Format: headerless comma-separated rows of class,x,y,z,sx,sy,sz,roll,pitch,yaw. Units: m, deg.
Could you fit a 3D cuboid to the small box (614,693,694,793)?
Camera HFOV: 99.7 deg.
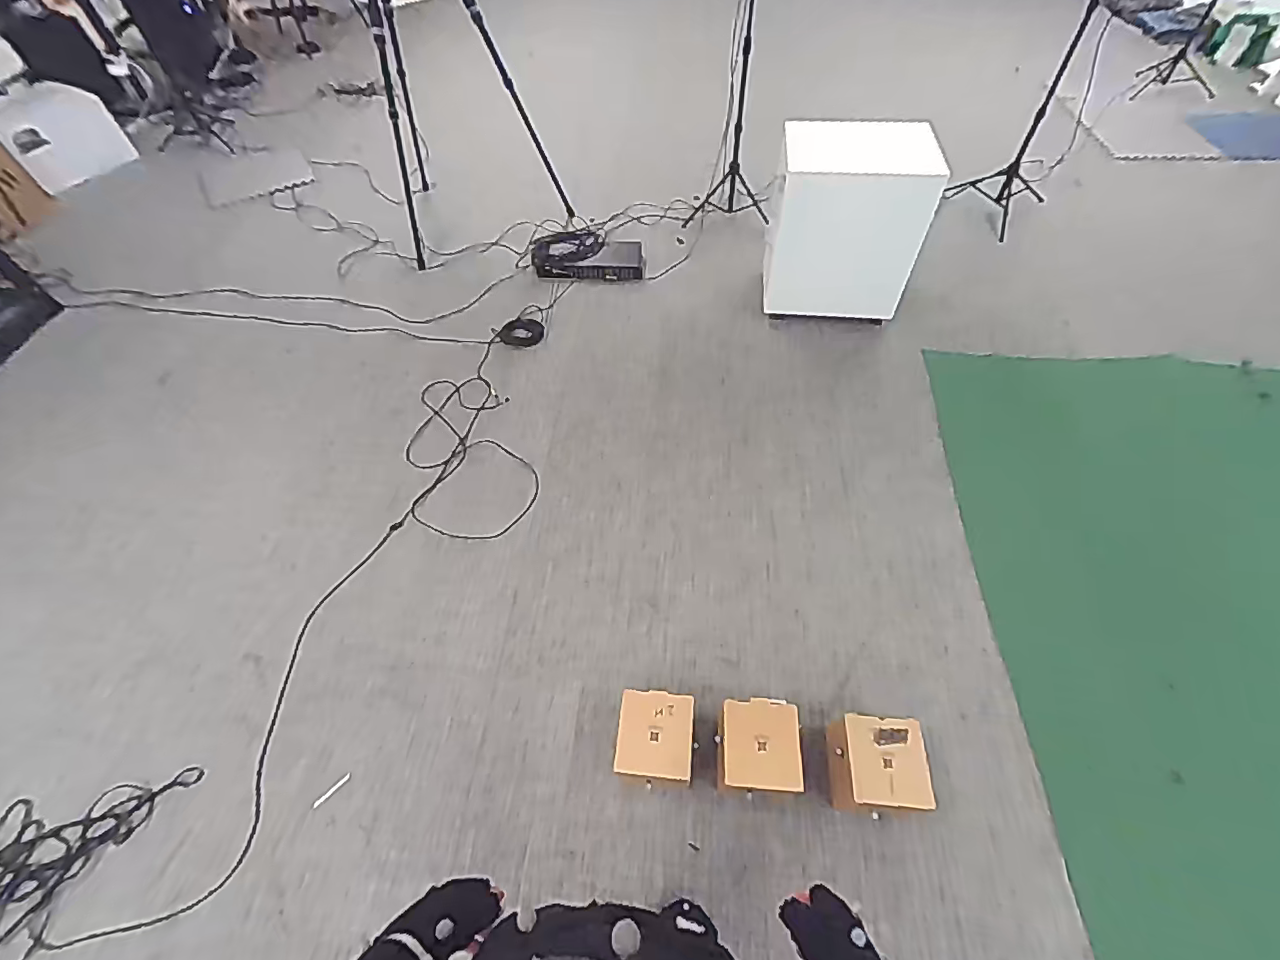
small box,0.037,0.613,1.251,0.168,0.176,0.179,4,54,4

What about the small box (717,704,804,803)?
small box,0.268,0.627,1.235,0.168,0.176,0.179,3,54,3

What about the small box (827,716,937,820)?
small box,0.530,0.647,1.211,0.168,0.176,0.179,3,55,4
